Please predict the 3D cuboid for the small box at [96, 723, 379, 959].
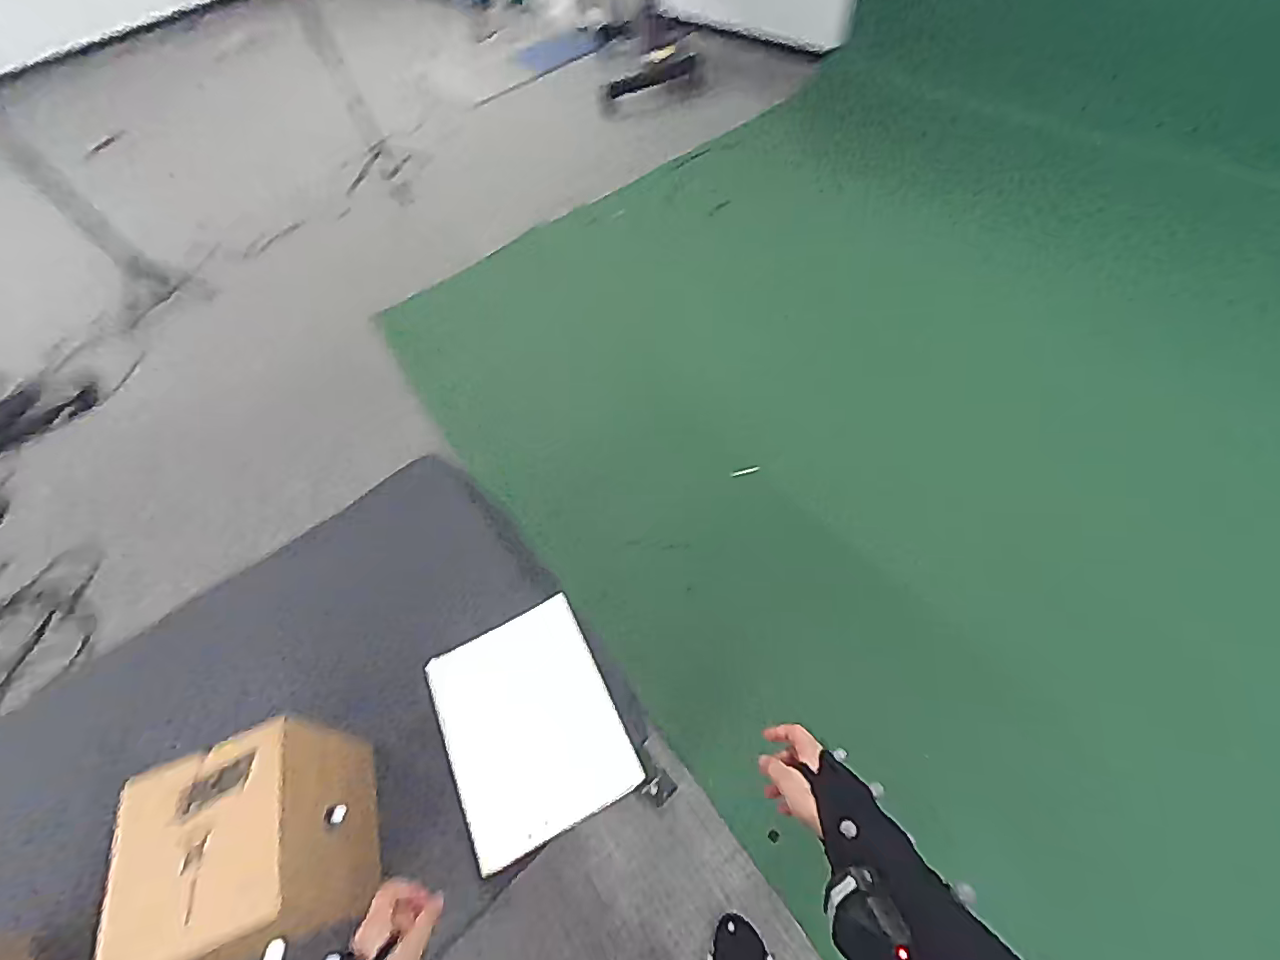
[{"bbox_3d":[-0.403,0.392,0.573,0.168,0.176,0.179,-24,55,-6],"label":"small box"}]
